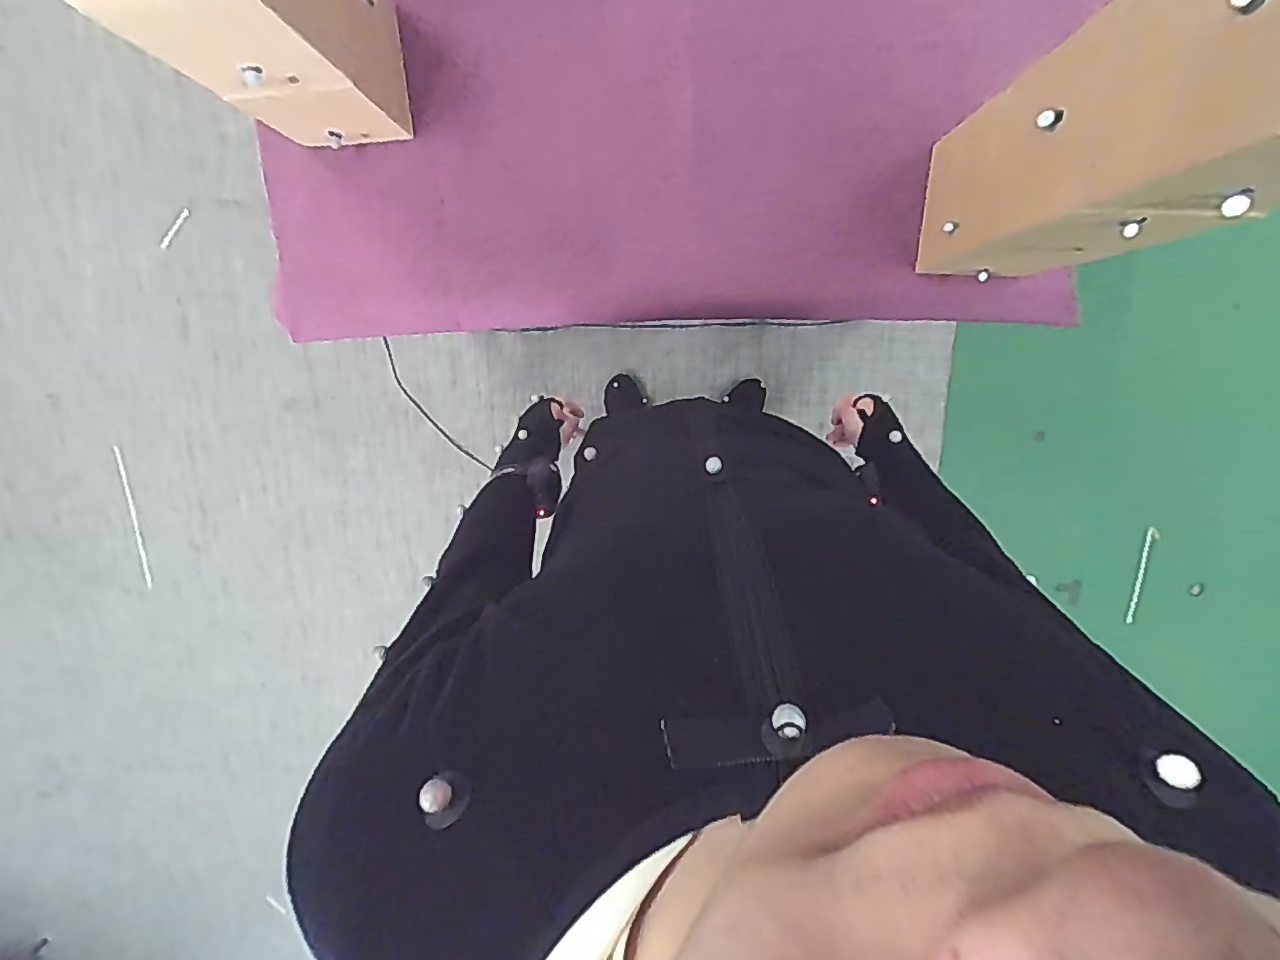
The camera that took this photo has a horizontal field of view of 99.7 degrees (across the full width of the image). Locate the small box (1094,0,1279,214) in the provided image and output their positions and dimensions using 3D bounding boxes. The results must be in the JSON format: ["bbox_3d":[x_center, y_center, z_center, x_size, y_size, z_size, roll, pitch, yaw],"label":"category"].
[{"bbox_3d":[0.479,-0.309,0.386,0.168,0.176,0.179,3,103,3],"label":"small box"}]

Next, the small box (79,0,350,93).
[{"bbox_3d":[-0.425,-0.530,0.543,0.168,0.176,0.179,-3,103,4],"label":"small box"}]

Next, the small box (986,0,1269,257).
[{"bbox_3d":[0.488,-0.340,0.548,0.168,0.176,0.179,4,102,3],"label":"small box"}]

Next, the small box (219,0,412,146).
[{"bbox_3d":[-0.420,-0.566,0.702,0.168,0.176,0.179,-3,104,3],"label":"small box"}]
